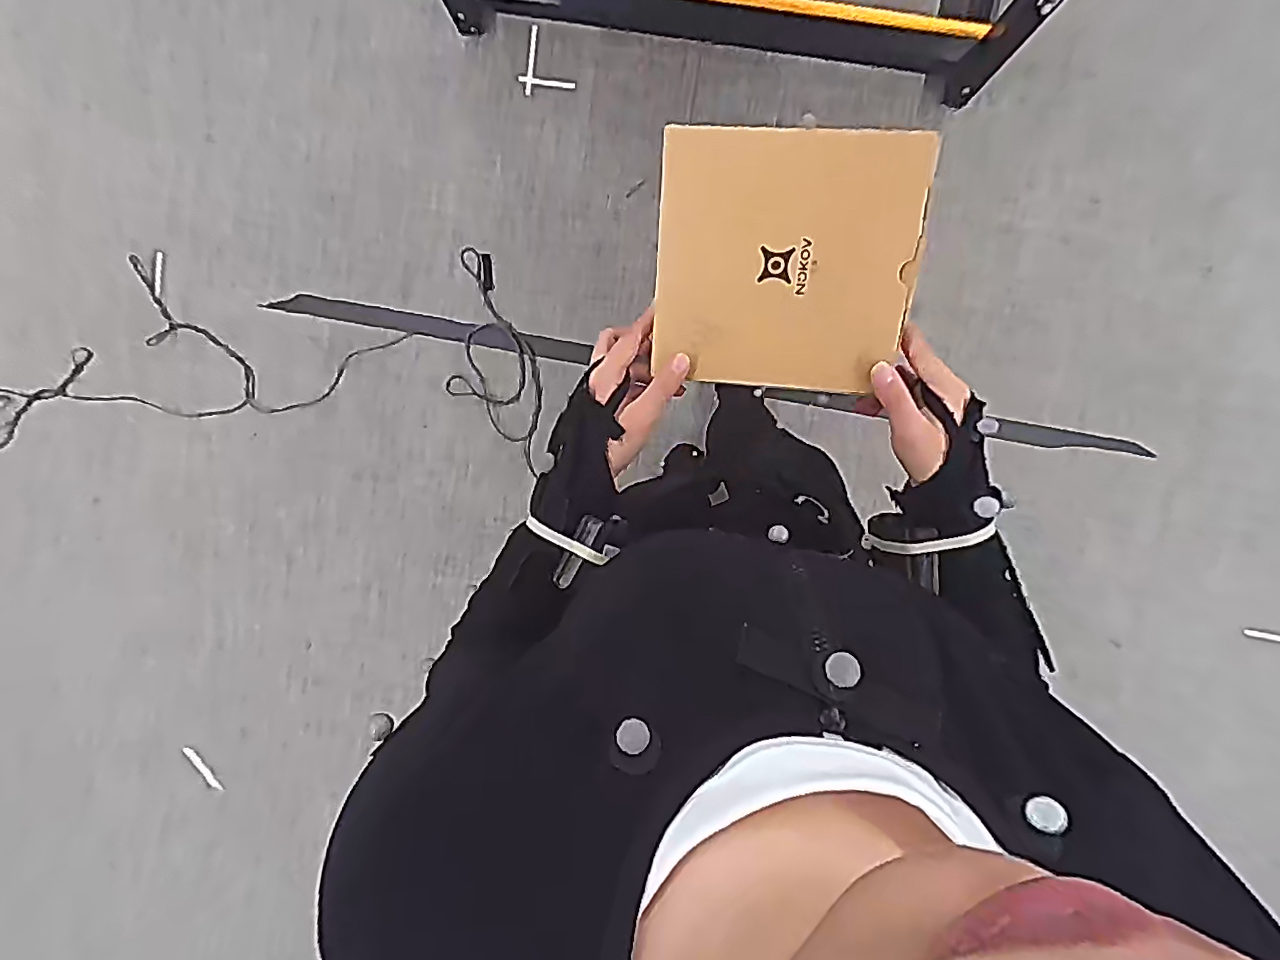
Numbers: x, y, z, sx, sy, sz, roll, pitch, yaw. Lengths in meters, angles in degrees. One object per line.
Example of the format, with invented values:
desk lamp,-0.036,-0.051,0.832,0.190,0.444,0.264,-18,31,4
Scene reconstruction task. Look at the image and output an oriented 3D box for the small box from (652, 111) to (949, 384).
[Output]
small box,0.109,-0.175,0.439,0.179,0.176,0.168,5,108,6
